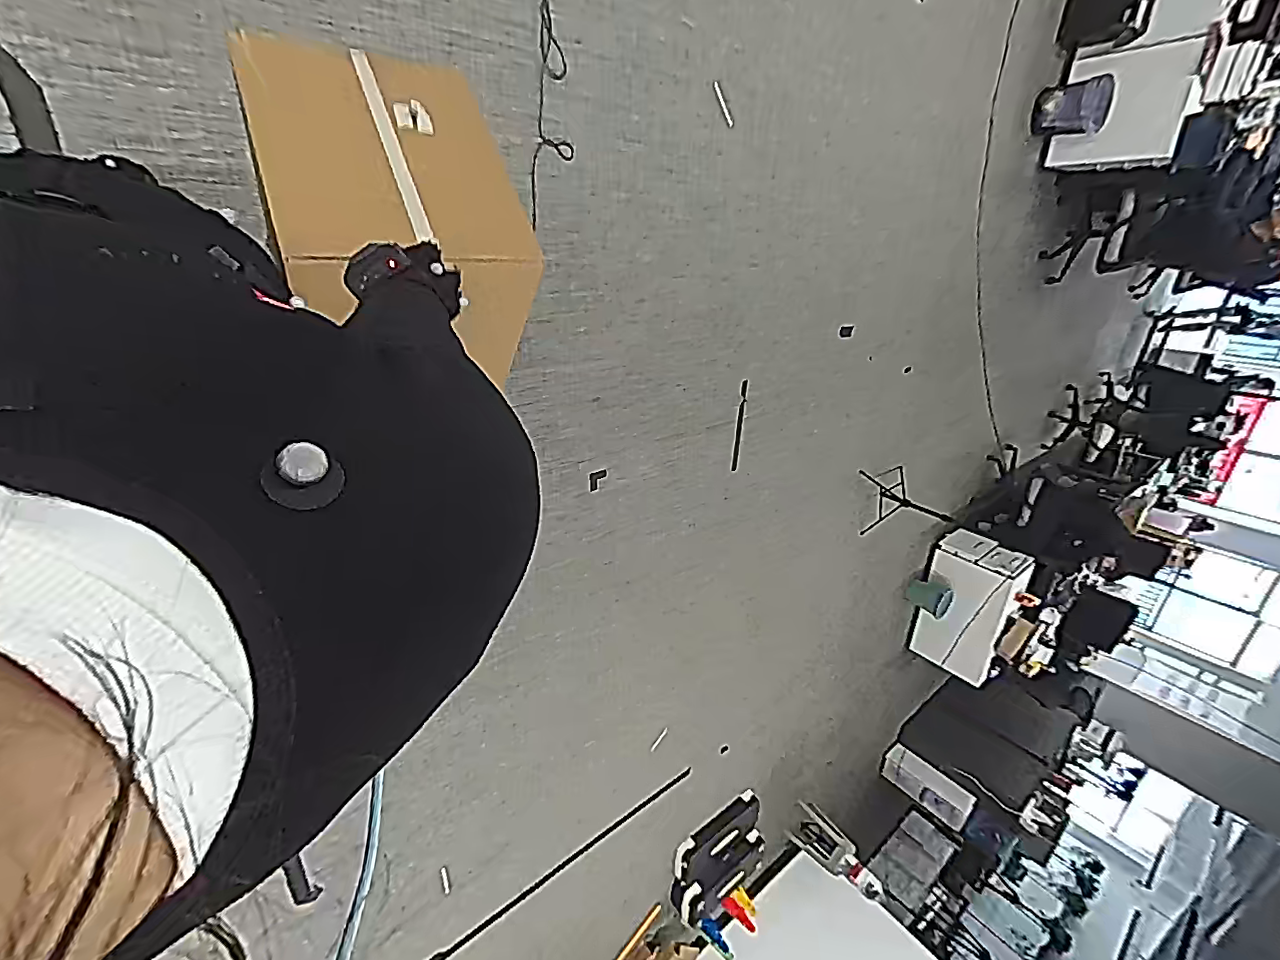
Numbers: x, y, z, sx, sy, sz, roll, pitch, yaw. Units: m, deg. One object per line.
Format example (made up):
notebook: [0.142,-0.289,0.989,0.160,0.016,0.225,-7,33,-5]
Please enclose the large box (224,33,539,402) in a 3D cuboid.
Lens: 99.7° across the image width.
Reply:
large box: [-0.402,-0.387,0.858,0.320,0.408,0.320,-14,160,-32]
